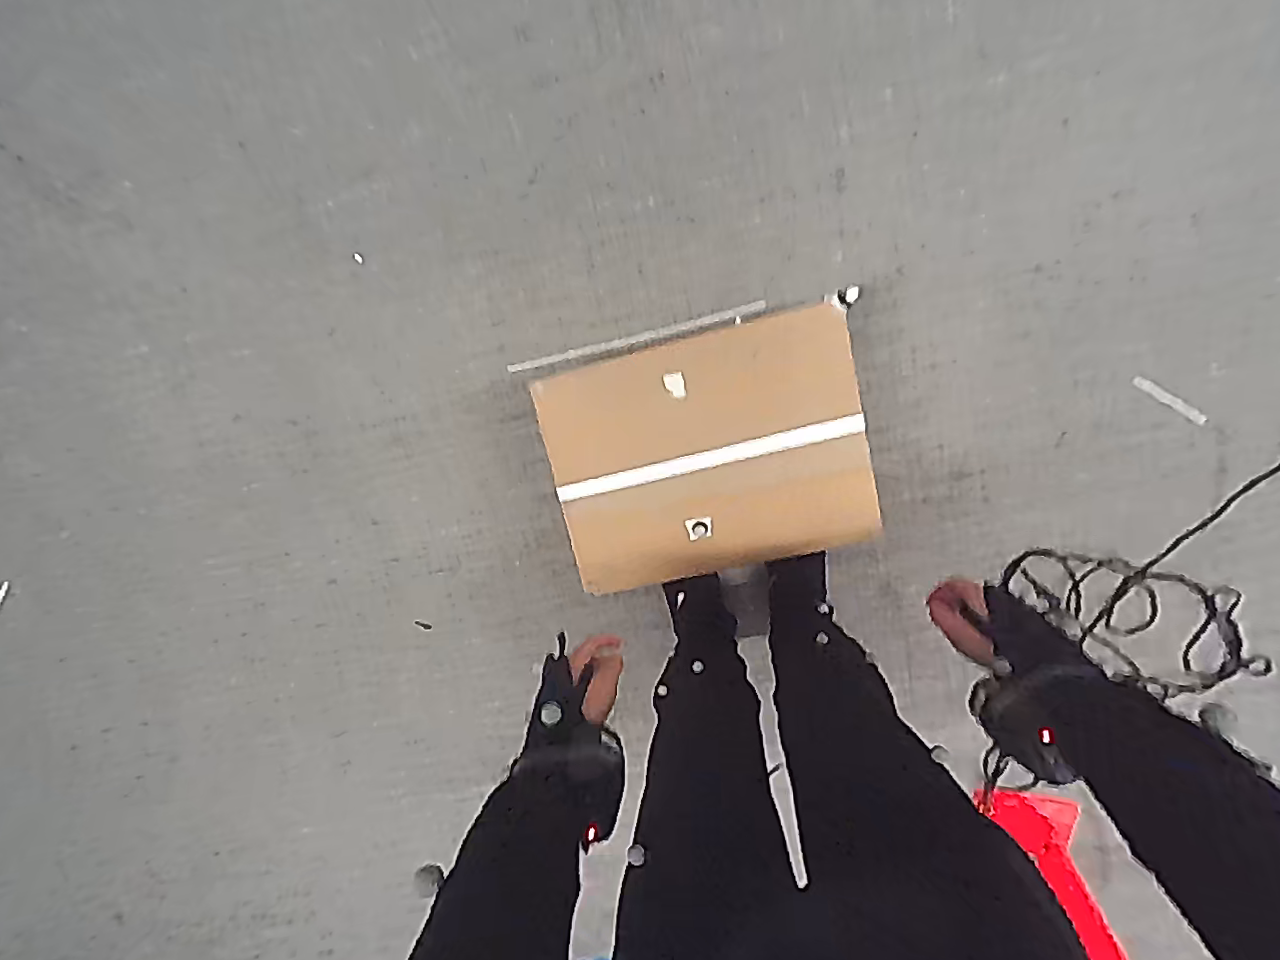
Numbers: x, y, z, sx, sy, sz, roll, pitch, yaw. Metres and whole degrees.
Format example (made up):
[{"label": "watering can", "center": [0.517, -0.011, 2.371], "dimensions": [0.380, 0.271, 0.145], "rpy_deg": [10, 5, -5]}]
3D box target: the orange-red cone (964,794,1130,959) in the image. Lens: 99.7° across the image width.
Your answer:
[{"label": "orange-red cone", "center": [0.743, 0.748, 0.898], "dimensions": [0.199, 0.360, 0.198], "rpy_deg": [8, 103, 4]}]
